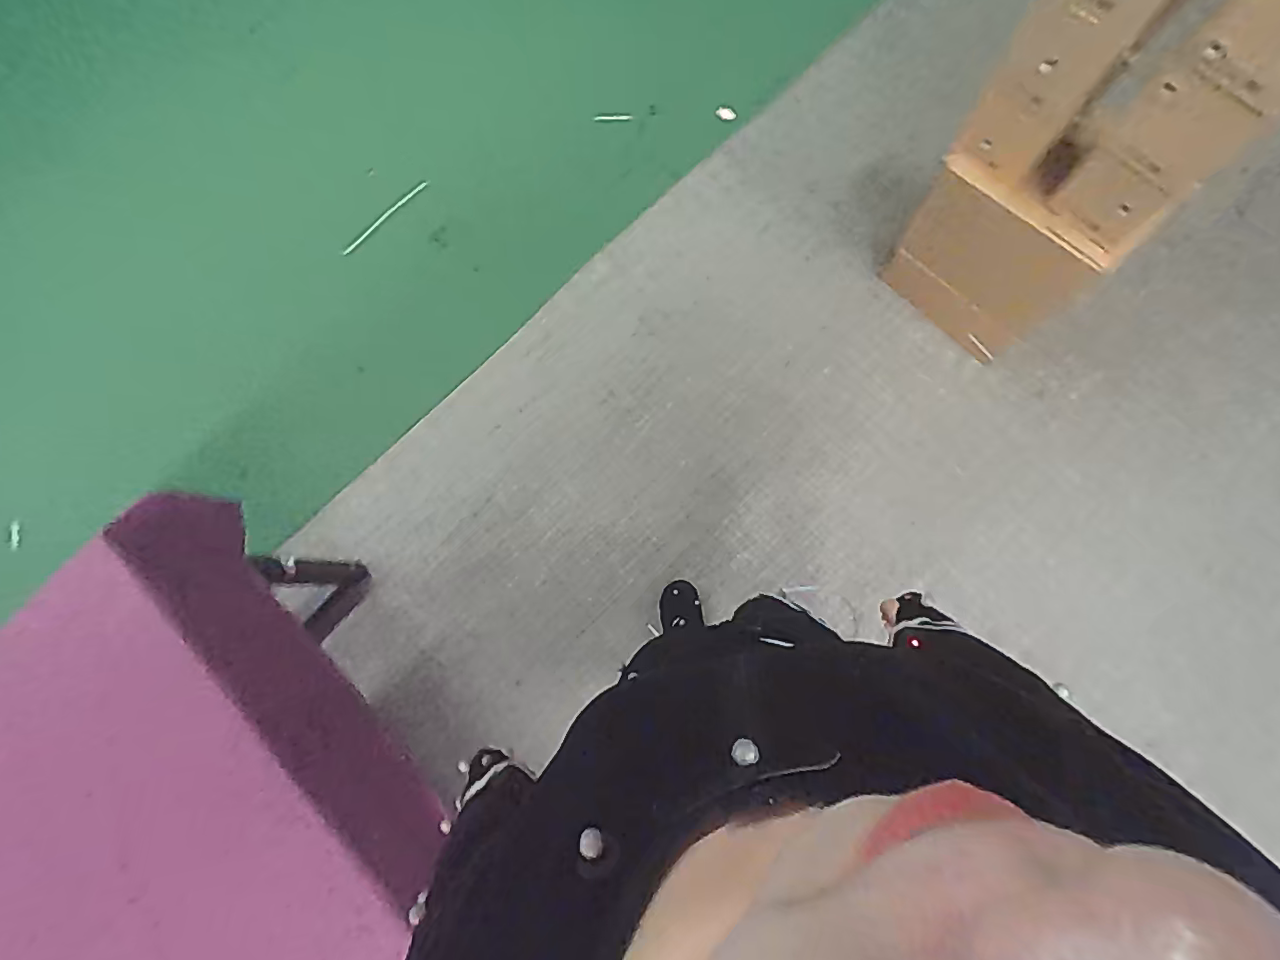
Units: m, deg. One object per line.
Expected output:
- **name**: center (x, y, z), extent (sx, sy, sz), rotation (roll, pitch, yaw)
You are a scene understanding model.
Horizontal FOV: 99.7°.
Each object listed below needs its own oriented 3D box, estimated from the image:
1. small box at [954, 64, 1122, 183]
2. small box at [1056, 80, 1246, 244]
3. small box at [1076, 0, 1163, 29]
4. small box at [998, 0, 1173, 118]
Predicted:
- **small box**: center (0.781, -0.752, 1.085), extent (0.179, 0.176, 0.168), rotation (-44, 79, -2)
- **small box**: center (0.953, -0.595, 1.035), extent (0.179, 0.176, 0.168), rotation (-41, 77, -3)
- **small box**: center (0.742, -0.810, 0.763), extent (0.179, 0.176, 0.168), rotation (-43, 78, -2)
- **small box**: center (0.759, -0.777, 0.925), extent (0.179, 0.176, 0.168), rotation (-43, 79, -1)
